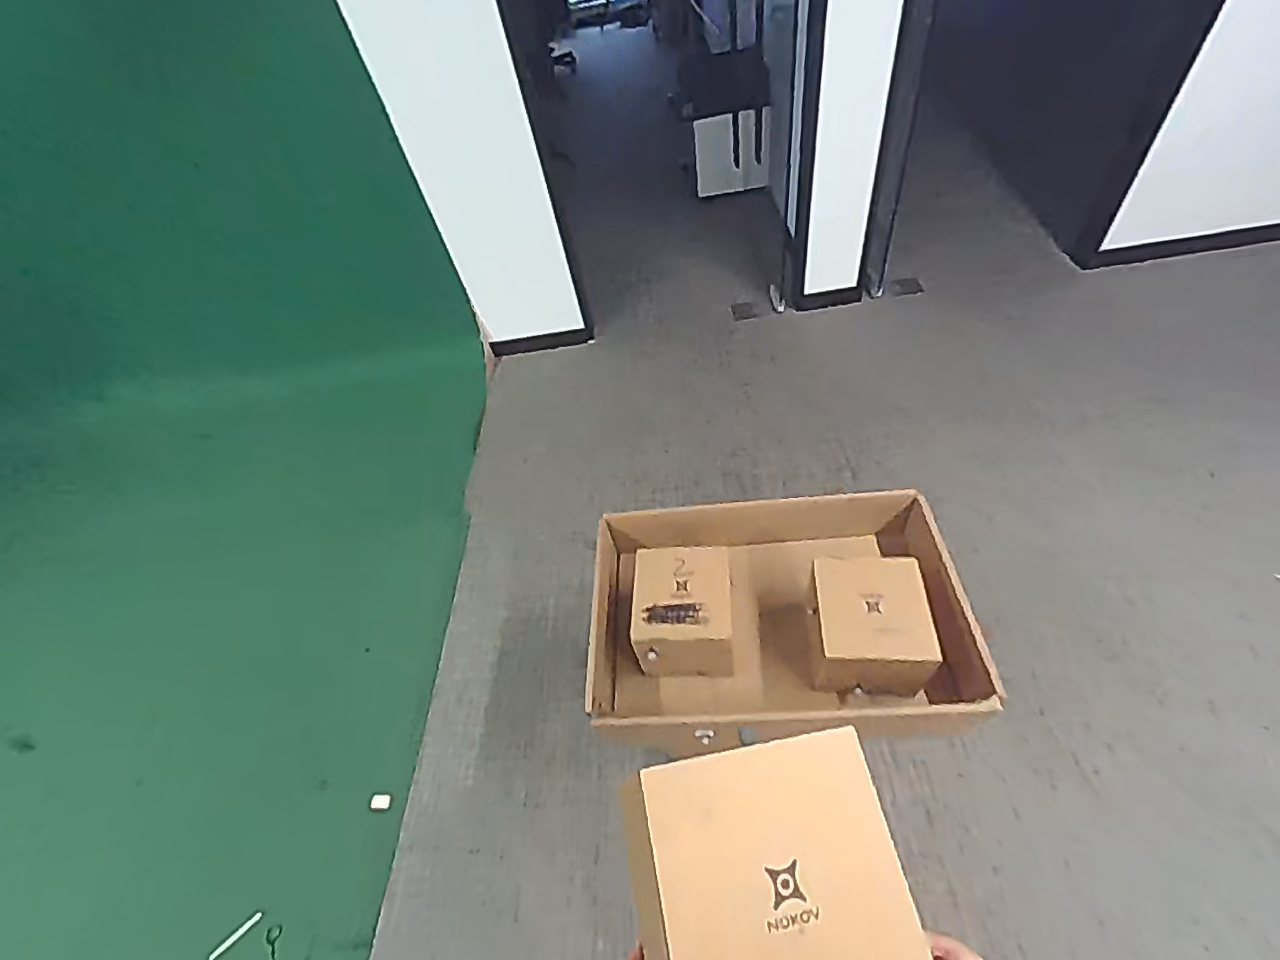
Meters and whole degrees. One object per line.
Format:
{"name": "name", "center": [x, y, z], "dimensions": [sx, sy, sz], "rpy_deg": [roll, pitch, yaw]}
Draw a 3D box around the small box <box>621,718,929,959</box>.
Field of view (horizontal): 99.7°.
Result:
{"name": "small box", "center": [0.082, 0.301, 0.419], "dimensions": [0.168, 0.176, 0.179], "rpy_deg": [-6, 62, -11]}
